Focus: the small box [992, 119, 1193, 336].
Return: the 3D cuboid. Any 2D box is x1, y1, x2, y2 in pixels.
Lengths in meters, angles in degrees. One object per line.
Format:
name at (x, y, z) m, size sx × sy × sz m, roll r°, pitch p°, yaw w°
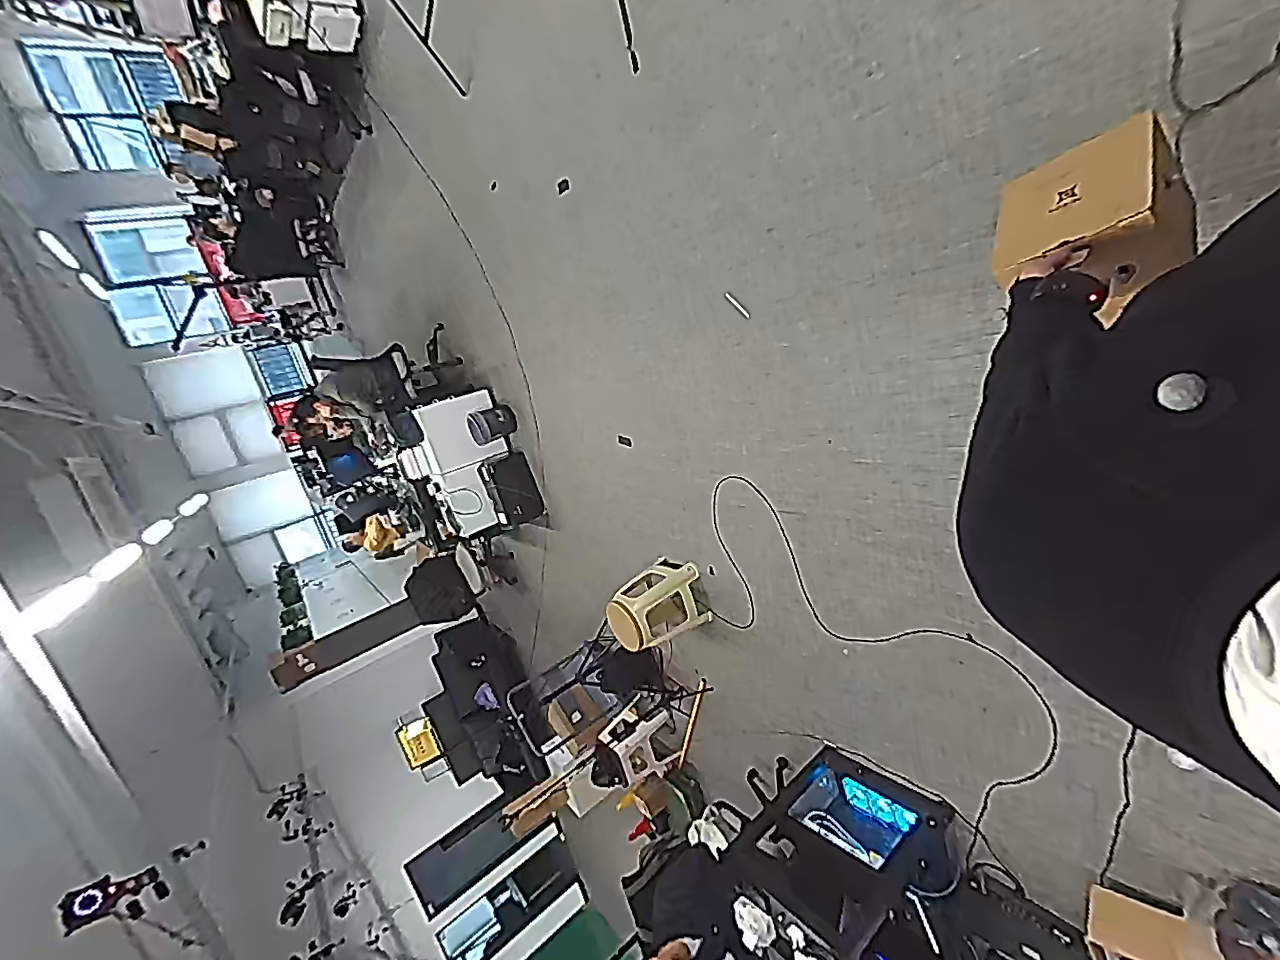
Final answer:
small box at (0.610, -0.320, 0.730) m, size 0.176 × 0.179 × 0.168 m, roll 32°, pitch 157°, yaw -26°
